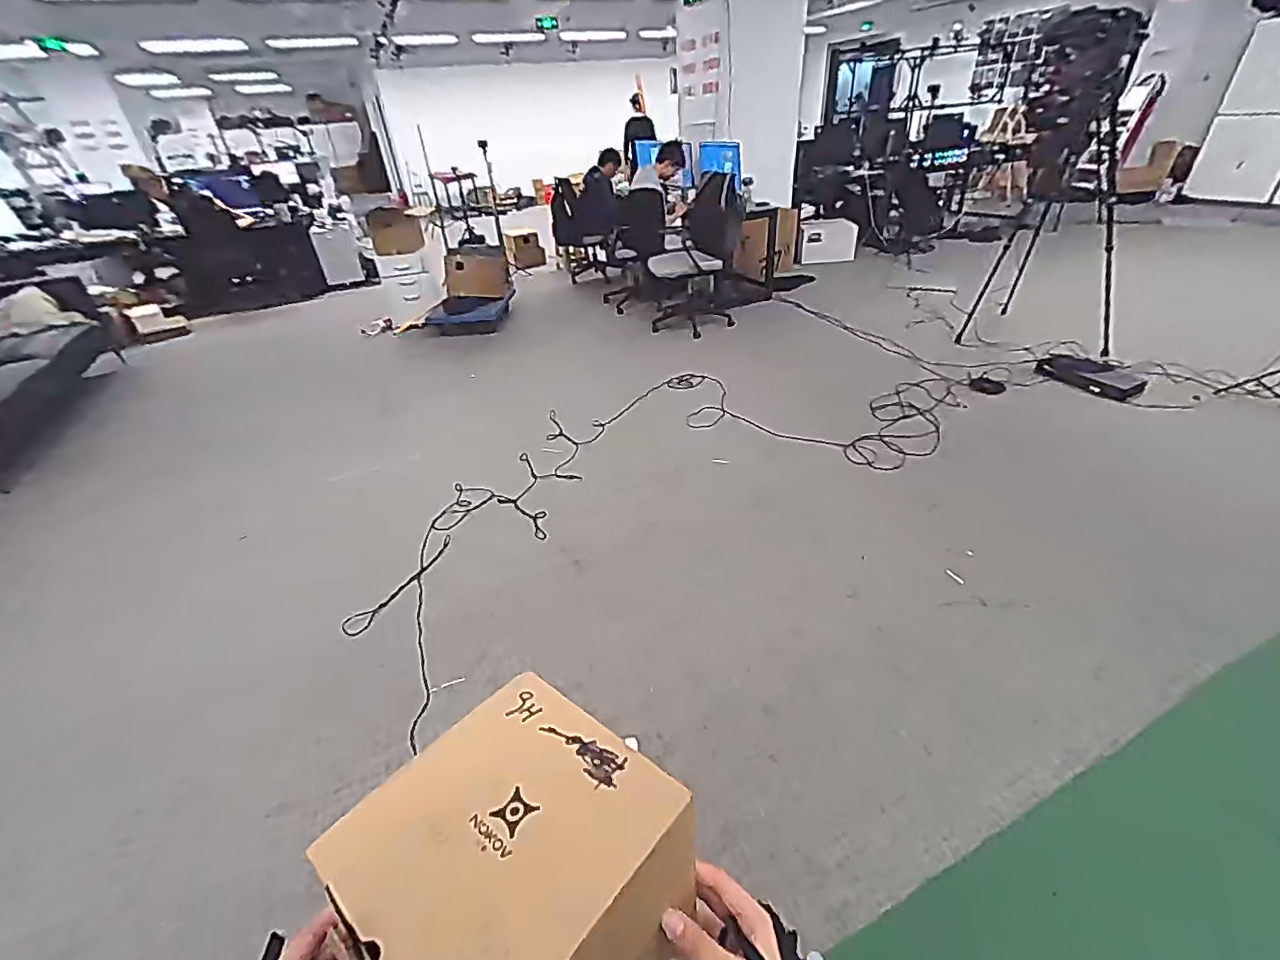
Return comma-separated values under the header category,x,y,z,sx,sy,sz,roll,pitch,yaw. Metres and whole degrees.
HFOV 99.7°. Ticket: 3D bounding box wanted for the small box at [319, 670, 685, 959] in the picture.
category,x,y,z,sx,sy,sz,roll,pitch,yaw
small box,-0.078,0.282,0.380,0.168,0.176,0.179,21,38,36
